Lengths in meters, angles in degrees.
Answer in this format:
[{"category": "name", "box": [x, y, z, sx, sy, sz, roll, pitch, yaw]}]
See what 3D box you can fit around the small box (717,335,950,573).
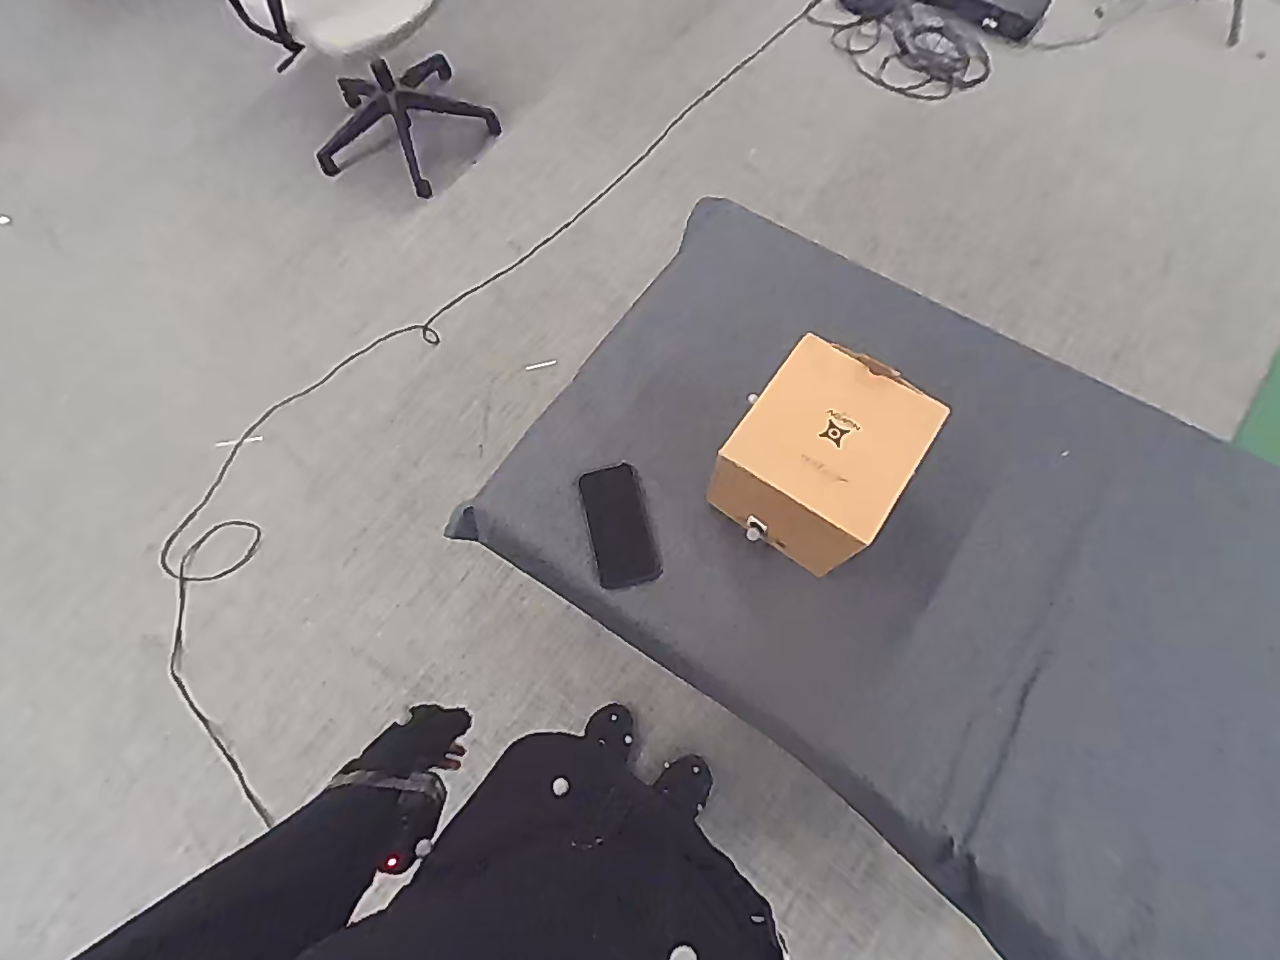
[{"category": "small box", "box": [0.199, -0.020, 0.610, 0.168, 0.176, 0.179, 34, 75, 14]}]
